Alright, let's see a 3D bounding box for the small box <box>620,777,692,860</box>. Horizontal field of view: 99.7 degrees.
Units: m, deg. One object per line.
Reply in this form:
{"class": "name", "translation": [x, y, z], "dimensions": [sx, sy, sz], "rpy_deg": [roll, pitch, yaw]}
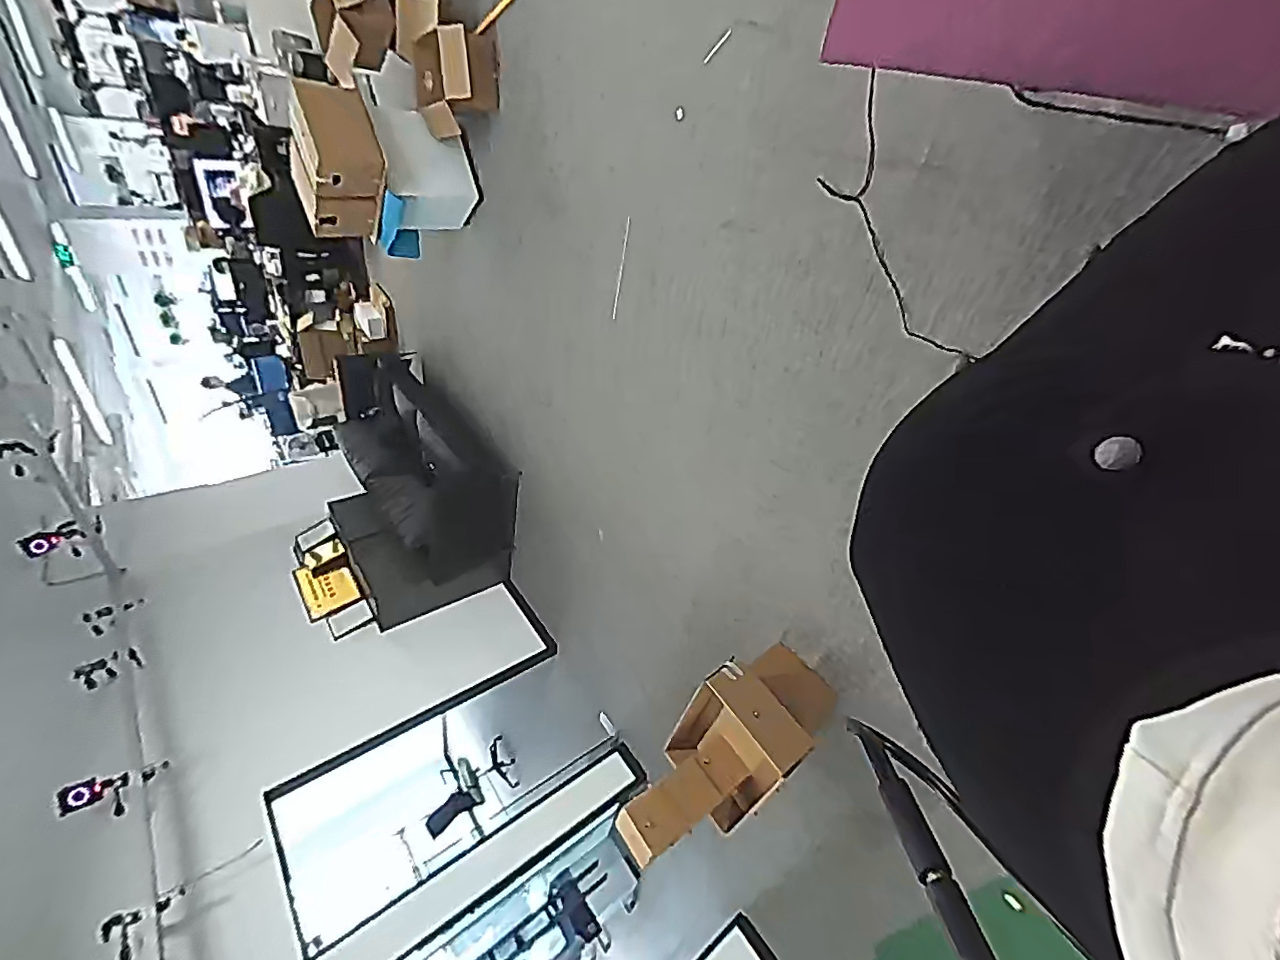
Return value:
{"class": "small box", "translation": [0.056, 1.204, 1.938], "dimensions": [0.179, 0.176, 0.168], "rpy_deg": [45, 138, 32]}
